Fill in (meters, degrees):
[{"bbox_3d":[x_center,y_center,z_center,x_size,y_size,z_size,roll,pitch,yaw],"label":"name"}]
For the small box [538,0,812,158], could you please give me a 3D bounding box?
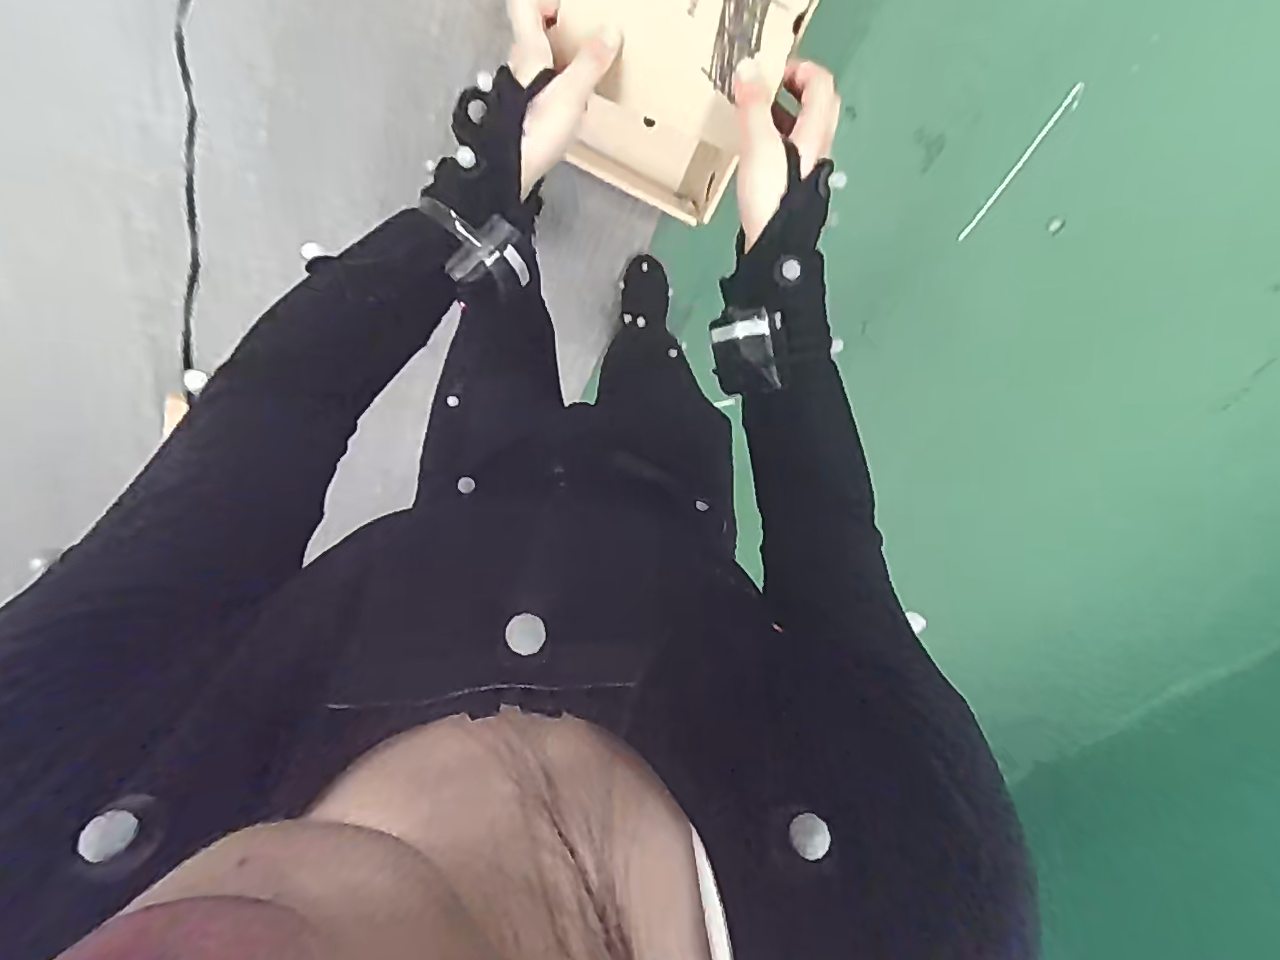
[{"bbox_3d":[0.040,-0.387,0.428,0.179,0.176,0.168,20,128,-4],"label":"small box"}]
